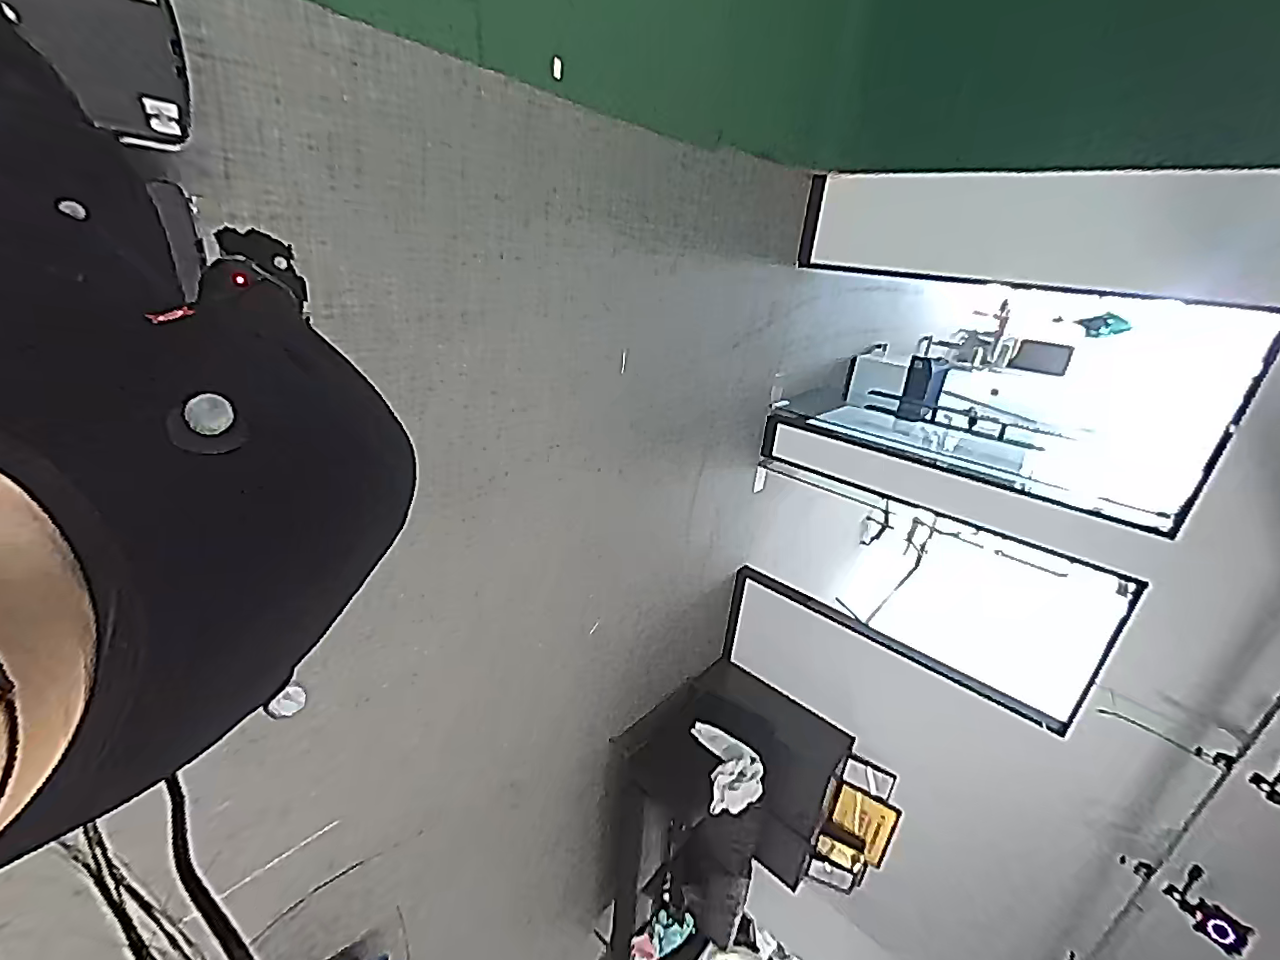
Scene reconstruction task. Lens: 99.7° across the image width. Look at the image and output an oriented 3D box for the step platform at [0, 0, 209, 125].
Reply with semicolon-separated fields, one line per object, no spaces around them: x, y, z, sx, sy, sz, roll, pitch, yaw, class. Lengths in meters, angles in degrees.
-0.965;-0.657;0.643;0.684;0.204;0.286;-19;124;-45;step platform
